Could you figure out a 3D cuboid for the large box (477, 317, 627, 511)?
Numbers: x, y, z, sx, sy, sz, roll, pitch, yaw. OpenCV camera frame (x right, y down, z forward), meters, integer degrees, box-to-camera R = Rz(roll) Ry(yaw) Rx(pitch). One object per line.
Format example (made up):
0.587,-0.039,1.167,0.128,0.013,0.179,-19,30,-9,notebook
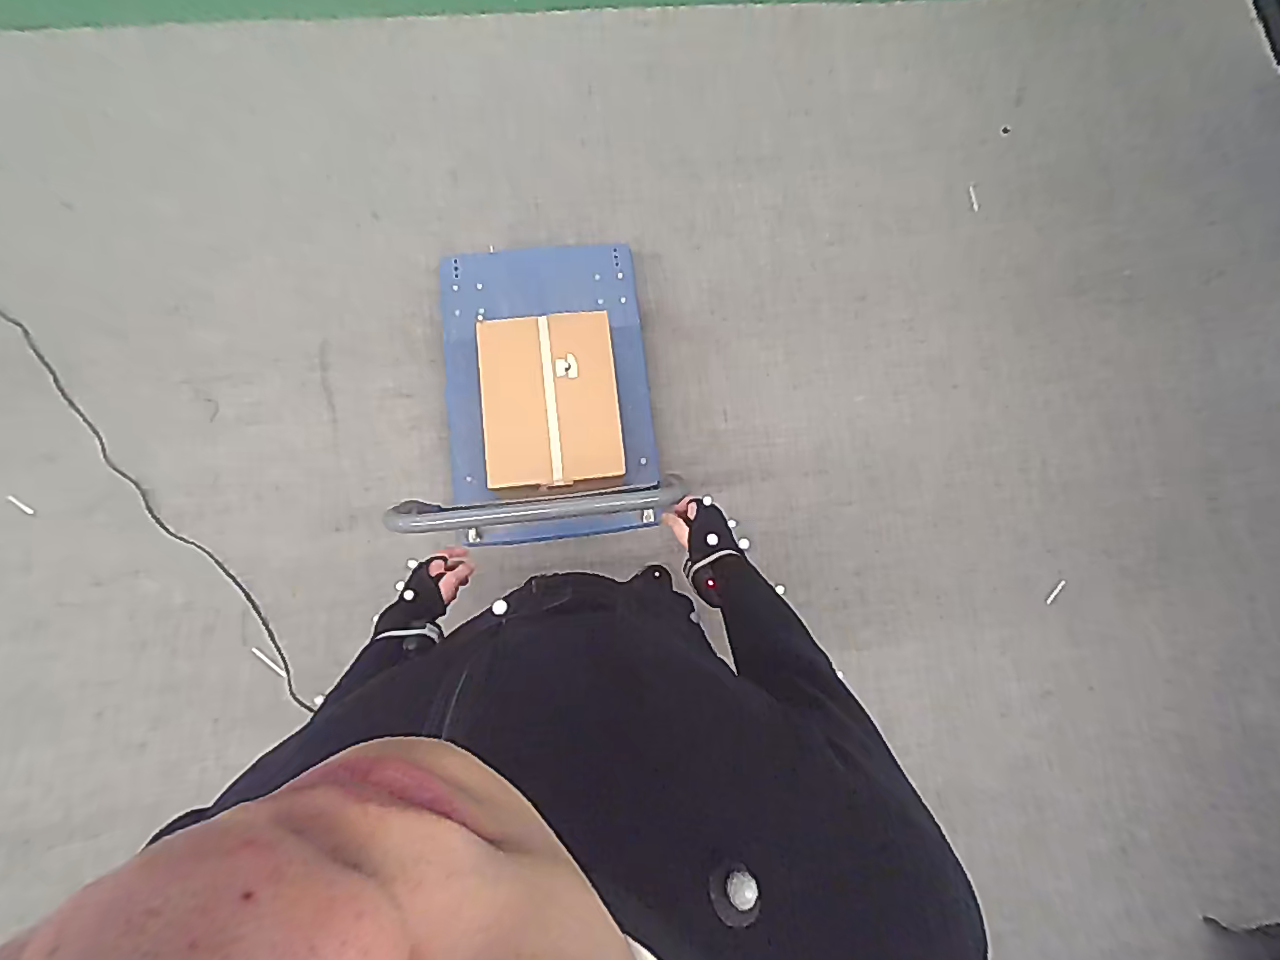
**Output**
-0.217,-0.154,1.399,0.320,0.320,0.408,-6,79,-6,large box
